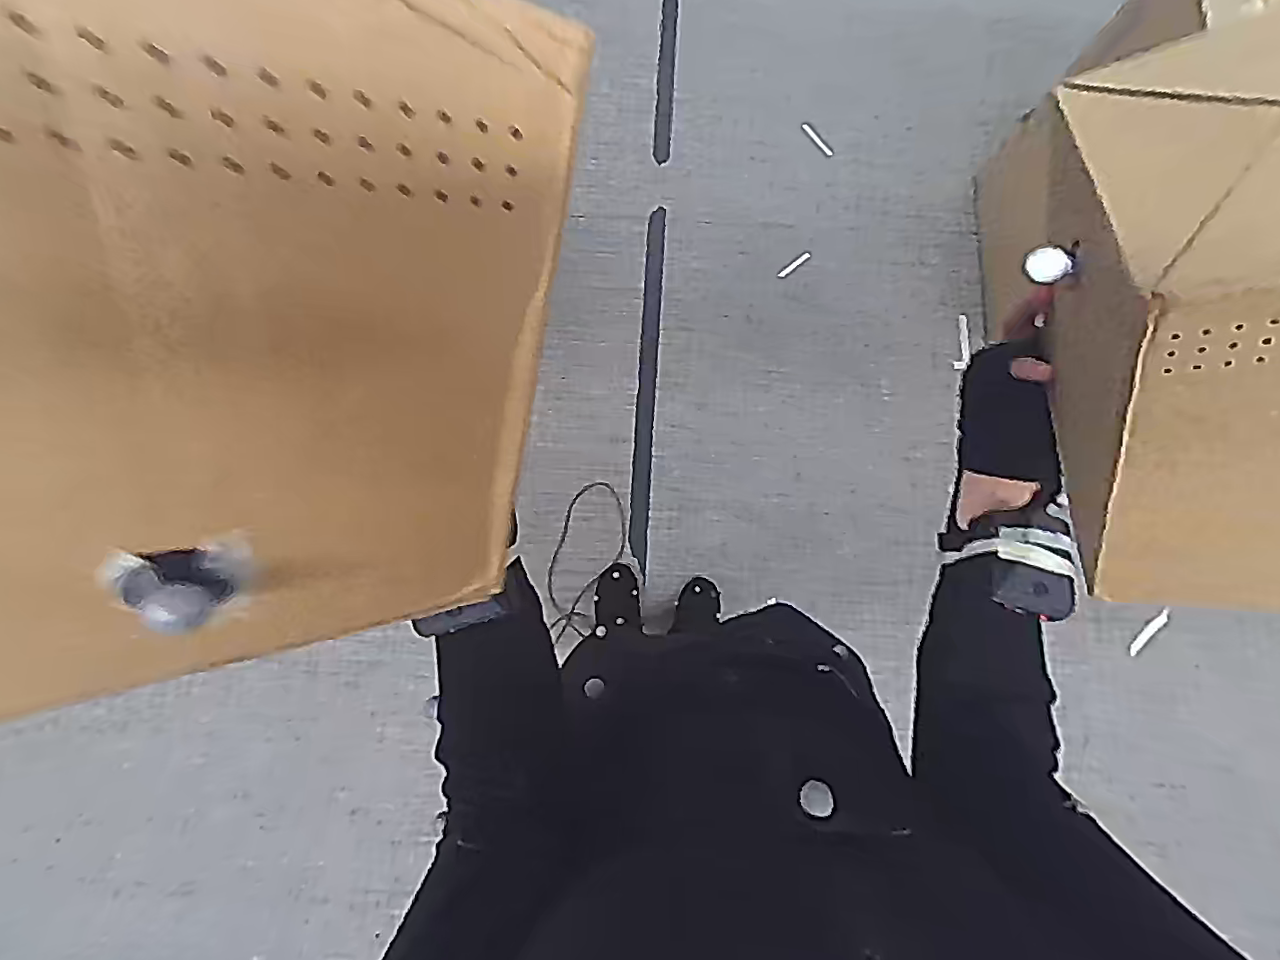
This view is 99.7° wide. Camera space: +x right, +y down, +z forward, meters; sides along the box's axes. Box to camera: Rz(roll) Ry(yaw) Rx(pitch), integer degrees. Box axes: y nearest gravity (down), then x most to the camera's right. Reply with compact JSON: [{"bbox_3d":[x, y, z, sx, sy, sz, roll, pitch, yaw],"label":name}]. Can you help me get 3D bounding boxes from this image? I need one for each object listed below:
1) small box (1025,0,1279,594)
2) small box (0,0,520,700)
[{"bbox_3d":[0.257,-0.073,0.203,0.168,0.176,0.179,-6,48,32],"label":"small box"},{"bbox_3d":[-0.144,-0.065,0.149,0.179,0.176,0.168,-6,43,-30],"label":"small box"}]
